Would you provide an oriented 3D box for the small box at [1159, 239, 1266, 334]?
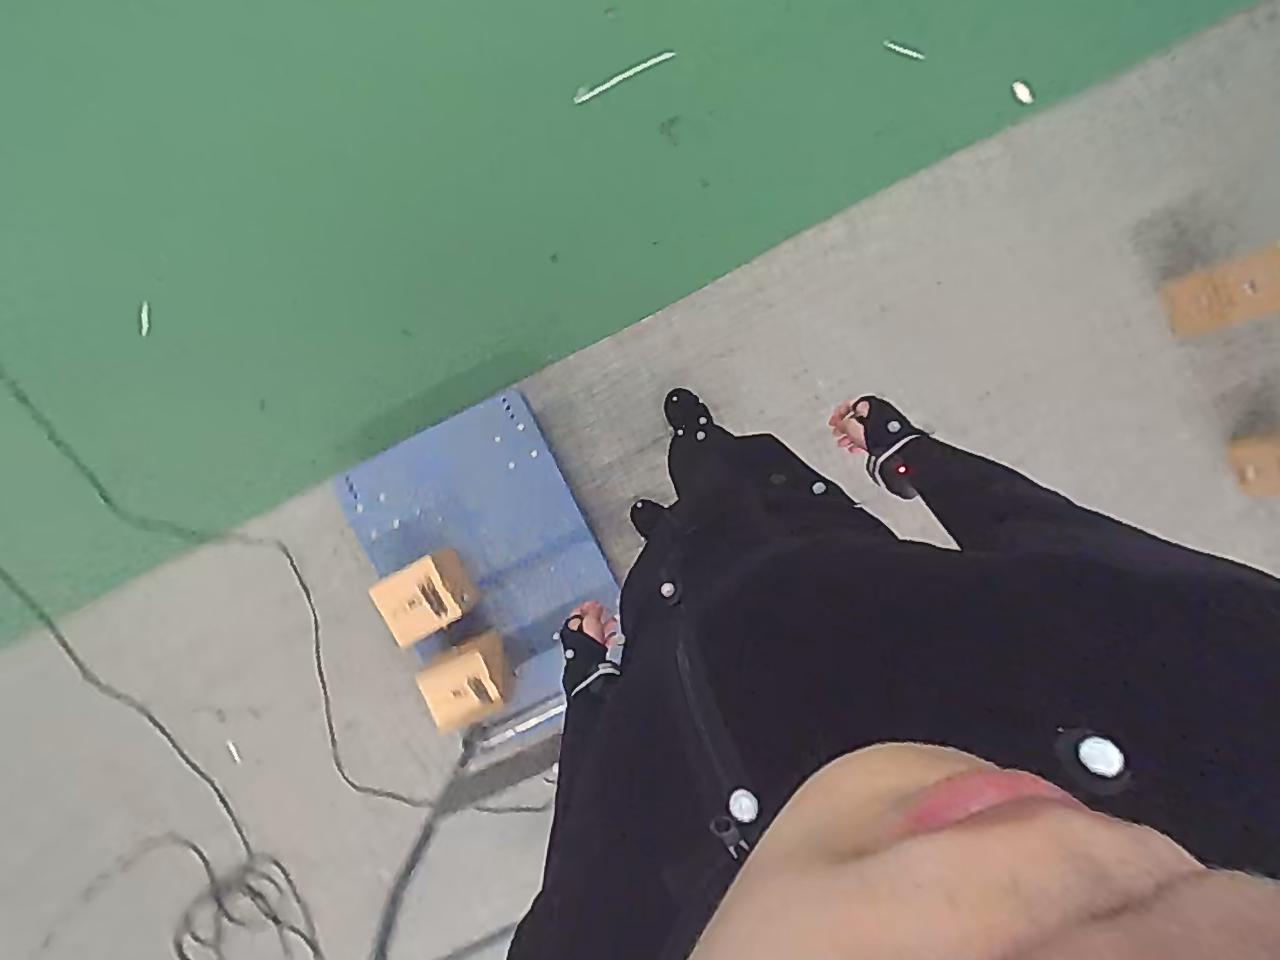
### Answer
[{"bbox_3d":[1.627,-0.534,1.516,0.168,0.176,0.179,-22,92,2],"label":"small box"}]

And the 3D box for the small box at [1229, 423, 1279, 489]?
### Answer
[{"bbox_3d":[1.849,-0.074,1.524,0.179,0.176,0.168,-16,89,2],"label":"small box"}]

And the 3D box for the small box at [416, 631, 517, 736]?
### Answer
[{"bbox_3d":[-0.431,0.511,1.385,0.179,0.176,0.168,-24,91,2],"label":"small box"}]
